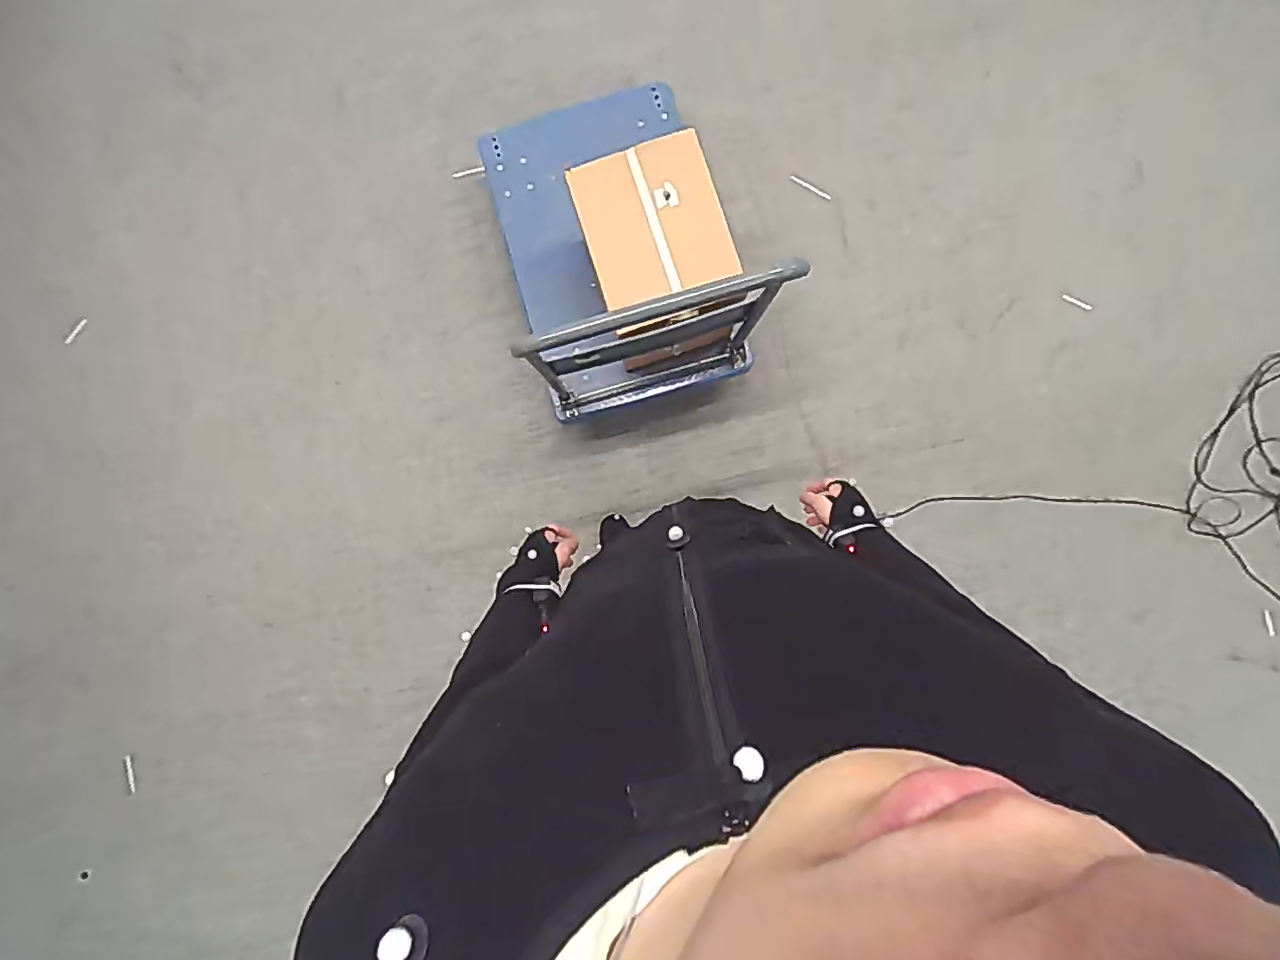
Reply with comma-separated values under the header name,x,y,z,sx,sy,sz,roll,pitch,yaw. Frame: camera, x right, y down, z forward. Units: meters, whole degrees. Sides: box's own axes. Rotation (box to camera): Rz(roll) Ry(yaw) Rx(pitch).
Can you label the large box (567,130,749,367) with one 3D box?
name,x,y,z,sx,sy,sz,roll,pitch,yaw
large box,0.046,-0.553,1.363,0.320,0.320,0.408,-18,86,0
